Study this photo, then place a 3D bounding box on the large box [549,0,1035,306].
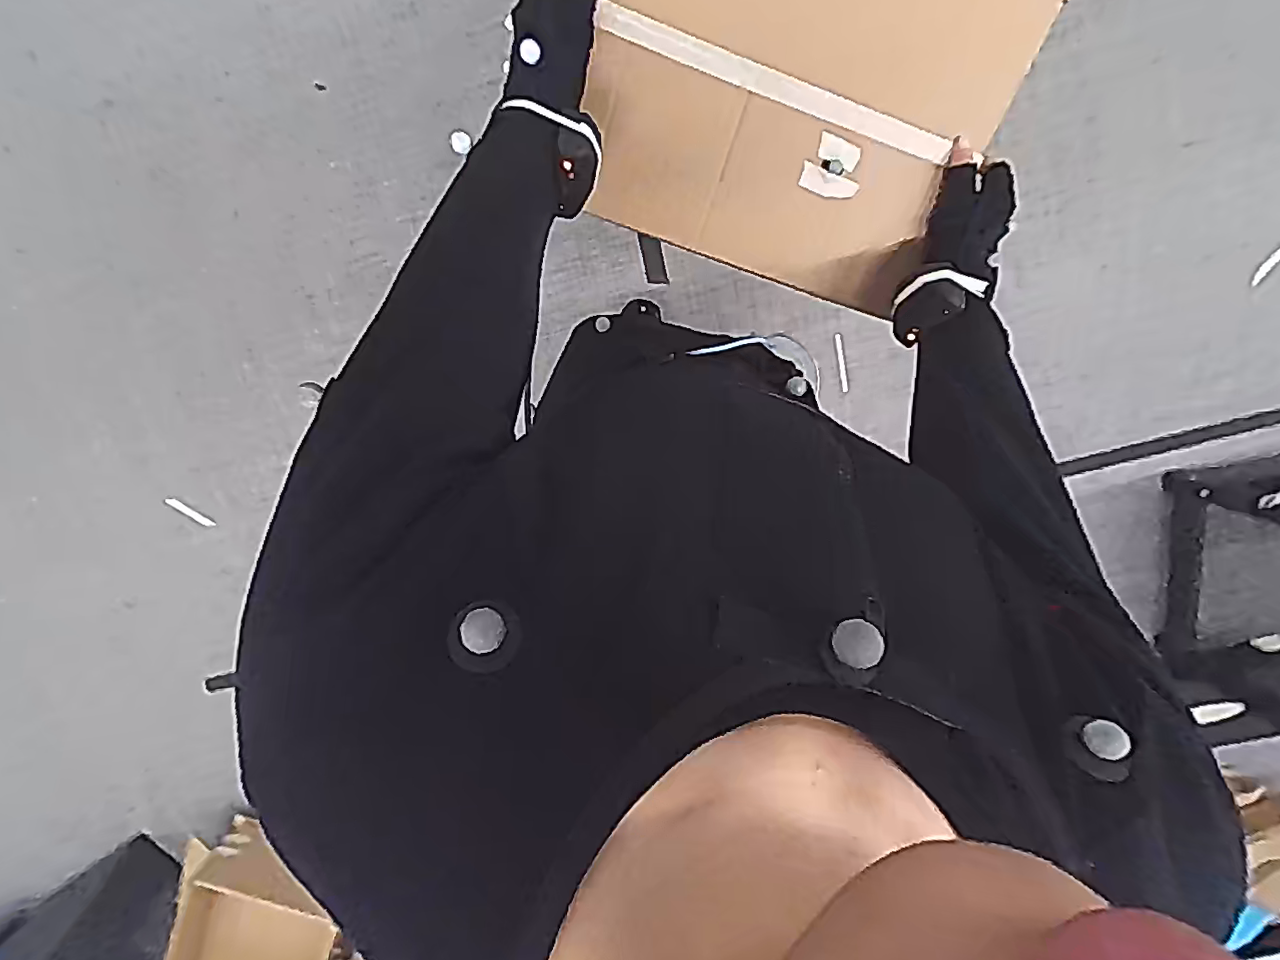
[{"bbox_3d":[0.131,-0.439,0.656,0.408,0.320,0.320,15,115,-9],"label":"large box"}]
